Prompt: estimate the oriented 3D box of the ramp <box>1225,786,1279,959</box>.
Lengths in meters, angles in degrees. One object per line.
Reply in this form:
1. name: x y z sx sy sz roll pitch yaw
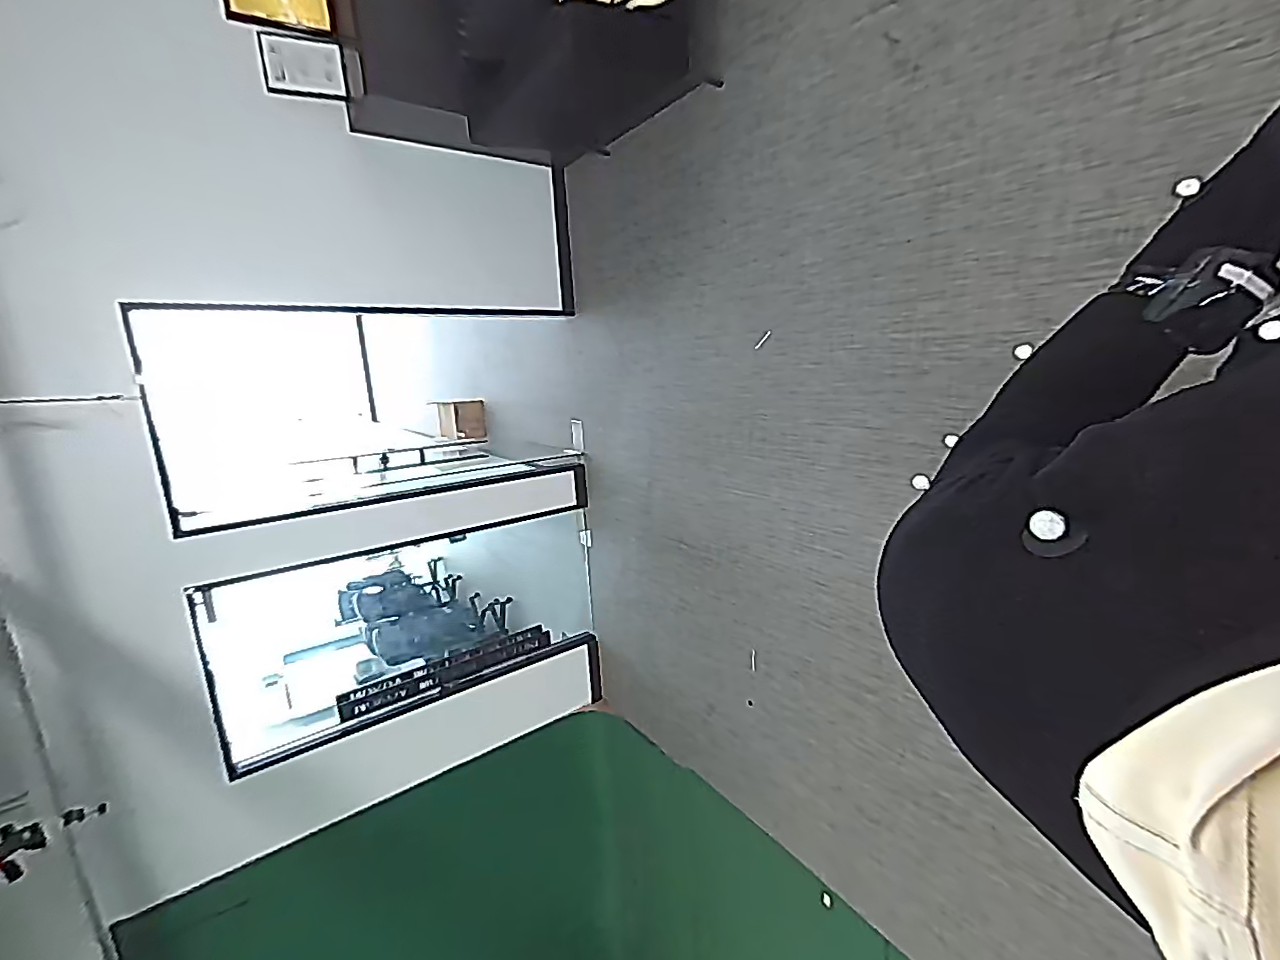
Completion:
1. ramp: 1.467 1.183 1.040 0.509 0.206 0.991 10 107 55
